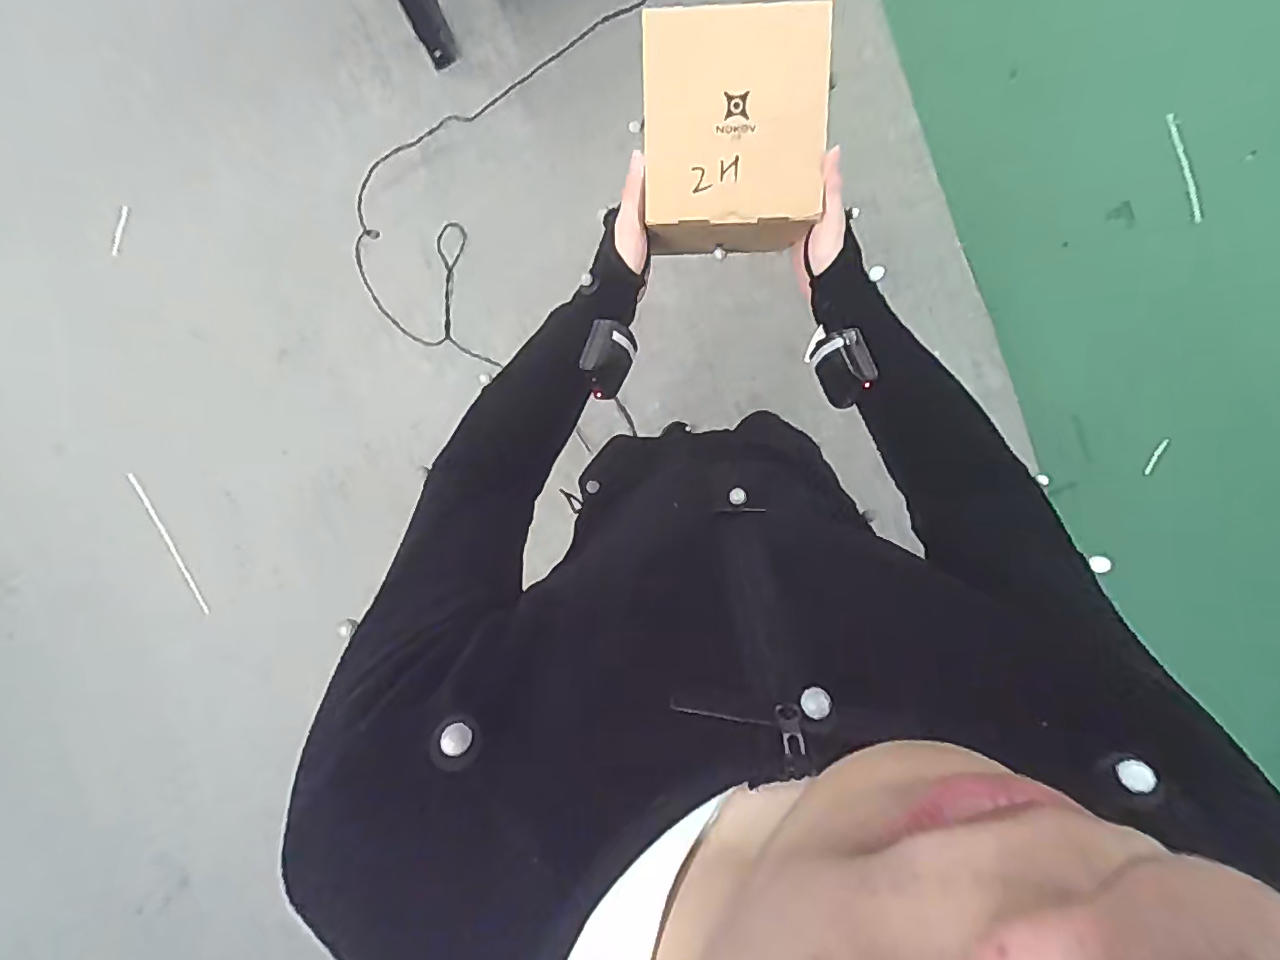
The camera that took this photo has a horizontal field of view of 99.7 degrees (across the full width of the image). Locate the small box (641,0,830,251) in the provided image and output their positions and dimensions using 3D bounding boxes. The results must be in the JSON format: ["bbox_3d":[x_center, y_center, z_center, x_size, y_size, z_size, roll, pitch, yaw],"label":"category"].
[{"bbox_3d":[0.085,-0.347,0.556,0.168,0.176,0.179,-1,103,3],"label":"small box"}]
